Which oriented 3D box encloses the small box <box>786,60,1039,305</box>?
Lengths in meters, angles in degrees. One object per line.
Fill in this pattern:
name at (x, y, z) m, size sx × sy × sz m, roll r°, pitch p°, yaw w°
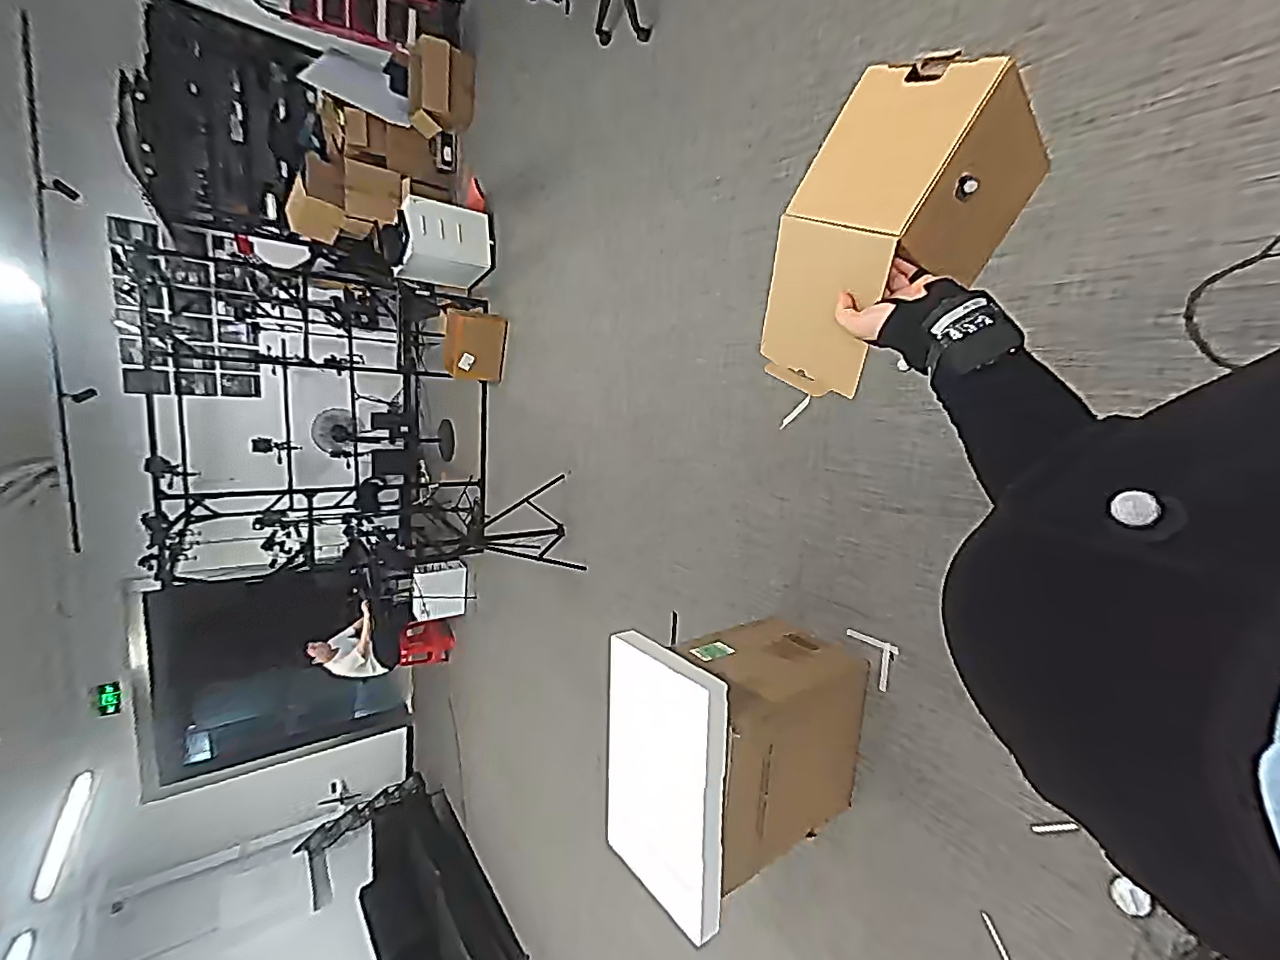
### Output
small box at (0.311, -0.327, 0.618) m, size 0.168 × 0.176 × 0.179 m, roll 45°, pitch 109°, yaw 46°
